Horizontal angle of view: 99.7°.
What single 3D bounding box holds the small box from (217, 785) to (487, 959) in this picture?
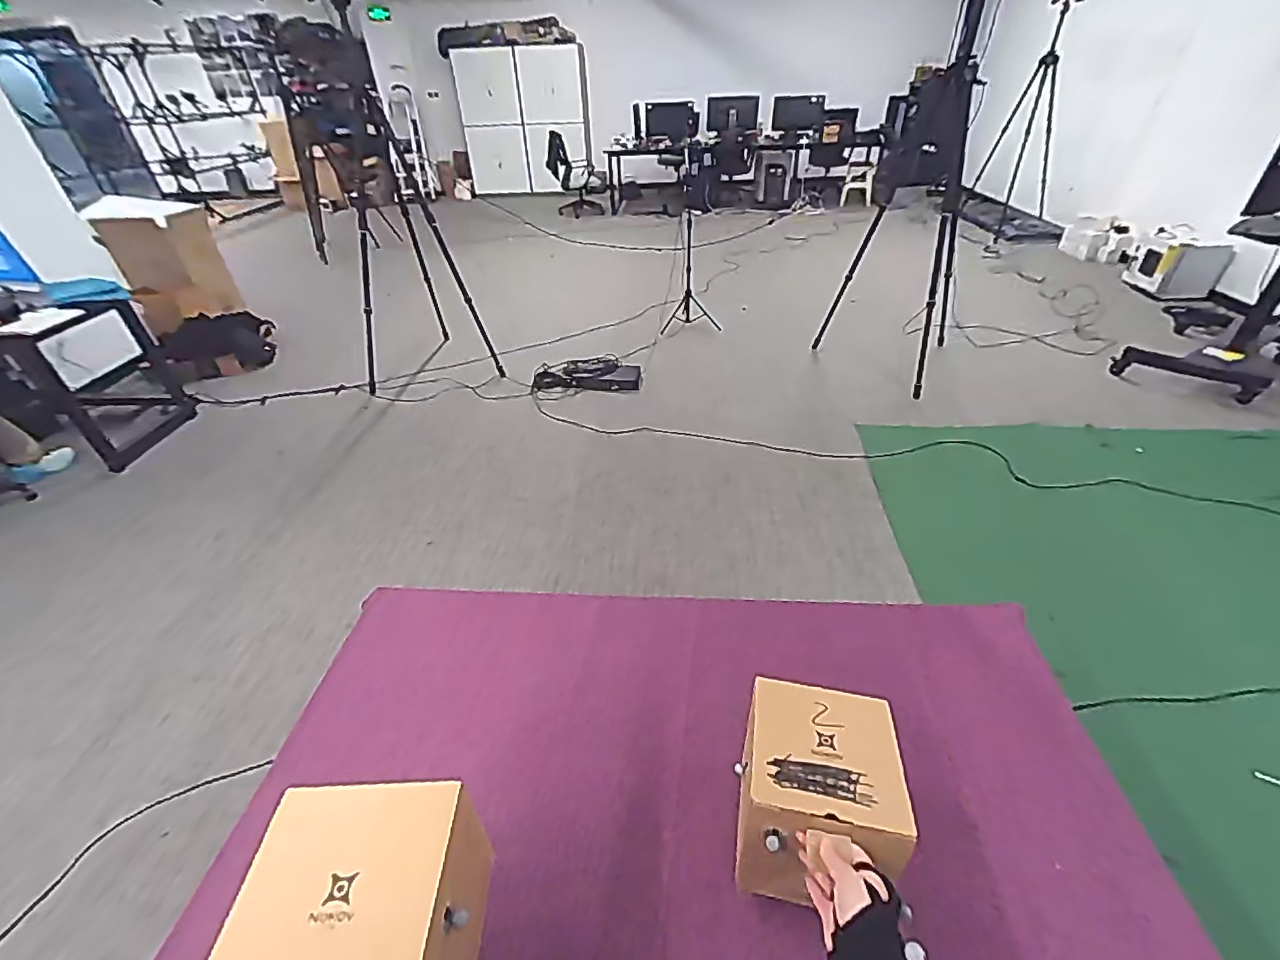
[{"bbox_3d":[-0.248,0.413,0.502,0.168,0.176,0.179,-2,37,-1],"label":"small box"}]
